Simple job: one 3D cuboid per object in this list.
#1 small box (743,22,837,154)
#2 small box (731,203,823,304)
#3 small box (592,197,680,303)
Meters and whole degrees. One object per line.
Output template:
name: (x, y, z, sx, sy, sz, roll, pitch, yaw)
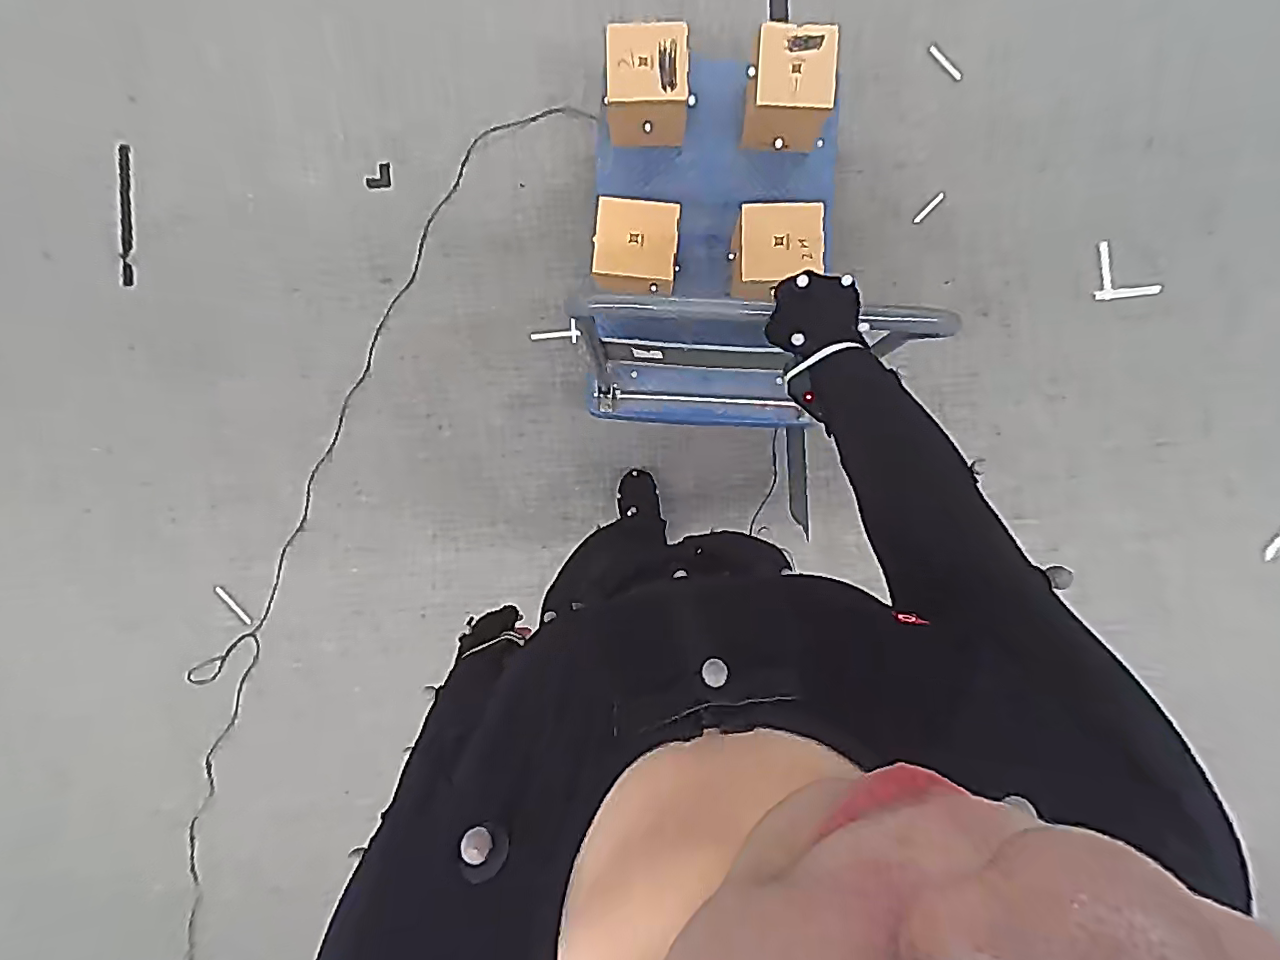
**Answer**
small box: (0.330, -0.877, 1.221, 0.168, 0.176, 0.179, 3, 92, 1)
small box: (0.302, -0.504, 1.223, 0.179, 0.176, 0.168, 0, 90, 1)
small box: (-0.008, -0.513, 1.229, 0.179, 0.176, 0.168, 5, 90, -1)
